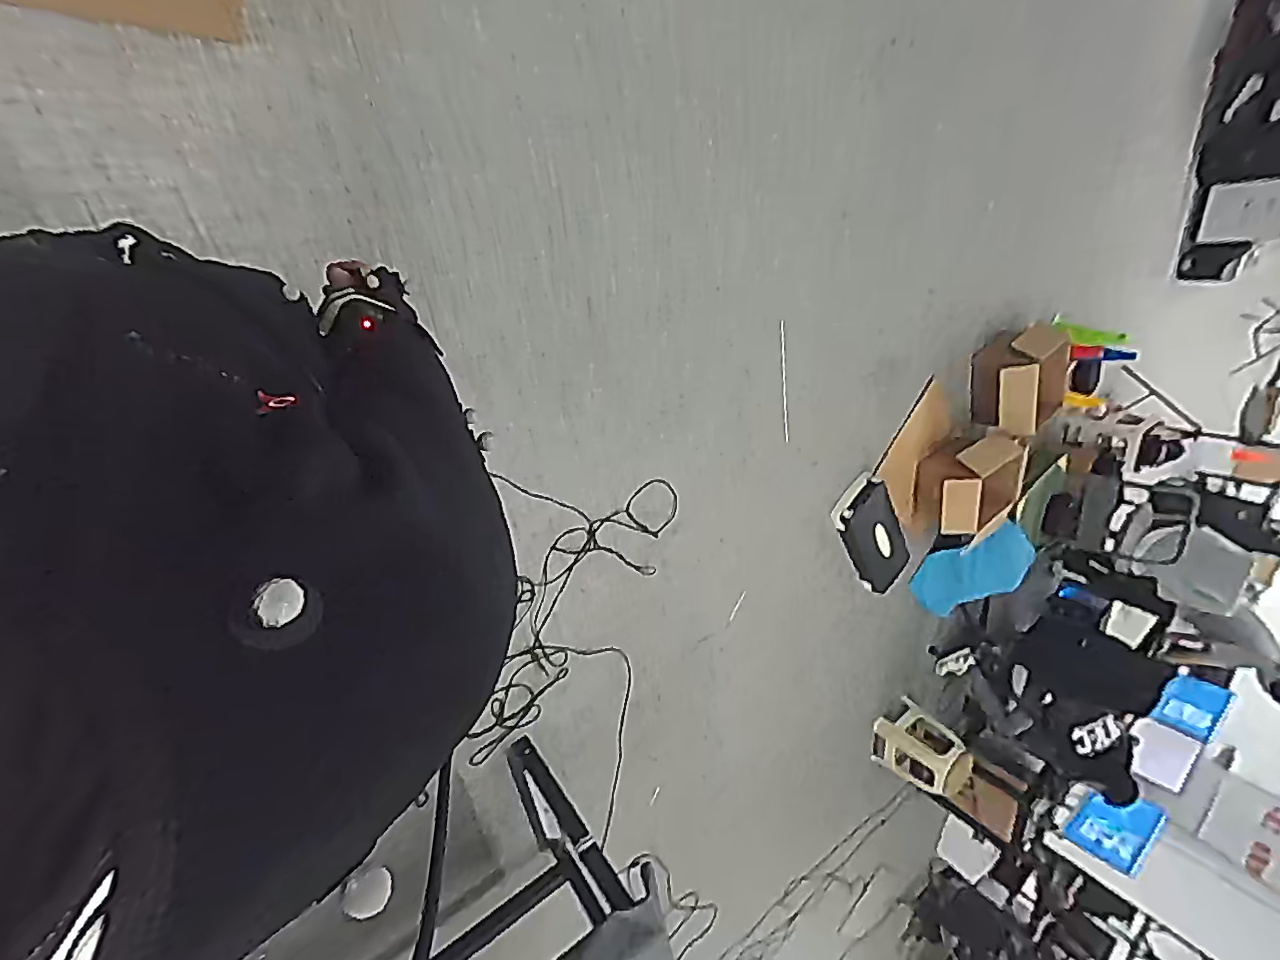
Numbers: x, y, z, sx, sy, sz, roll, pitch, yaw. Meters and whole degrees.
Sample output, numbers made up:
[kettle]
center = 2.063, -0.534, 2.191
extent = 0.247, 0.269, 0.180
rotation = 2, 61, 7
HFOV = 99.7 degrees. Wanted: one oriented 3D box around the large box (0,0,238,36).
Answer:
[large box]
center = -0.799, -0.837, 0.689
extent = 0.408, 0.320, 0.320
rotation = -17, 116, -33
